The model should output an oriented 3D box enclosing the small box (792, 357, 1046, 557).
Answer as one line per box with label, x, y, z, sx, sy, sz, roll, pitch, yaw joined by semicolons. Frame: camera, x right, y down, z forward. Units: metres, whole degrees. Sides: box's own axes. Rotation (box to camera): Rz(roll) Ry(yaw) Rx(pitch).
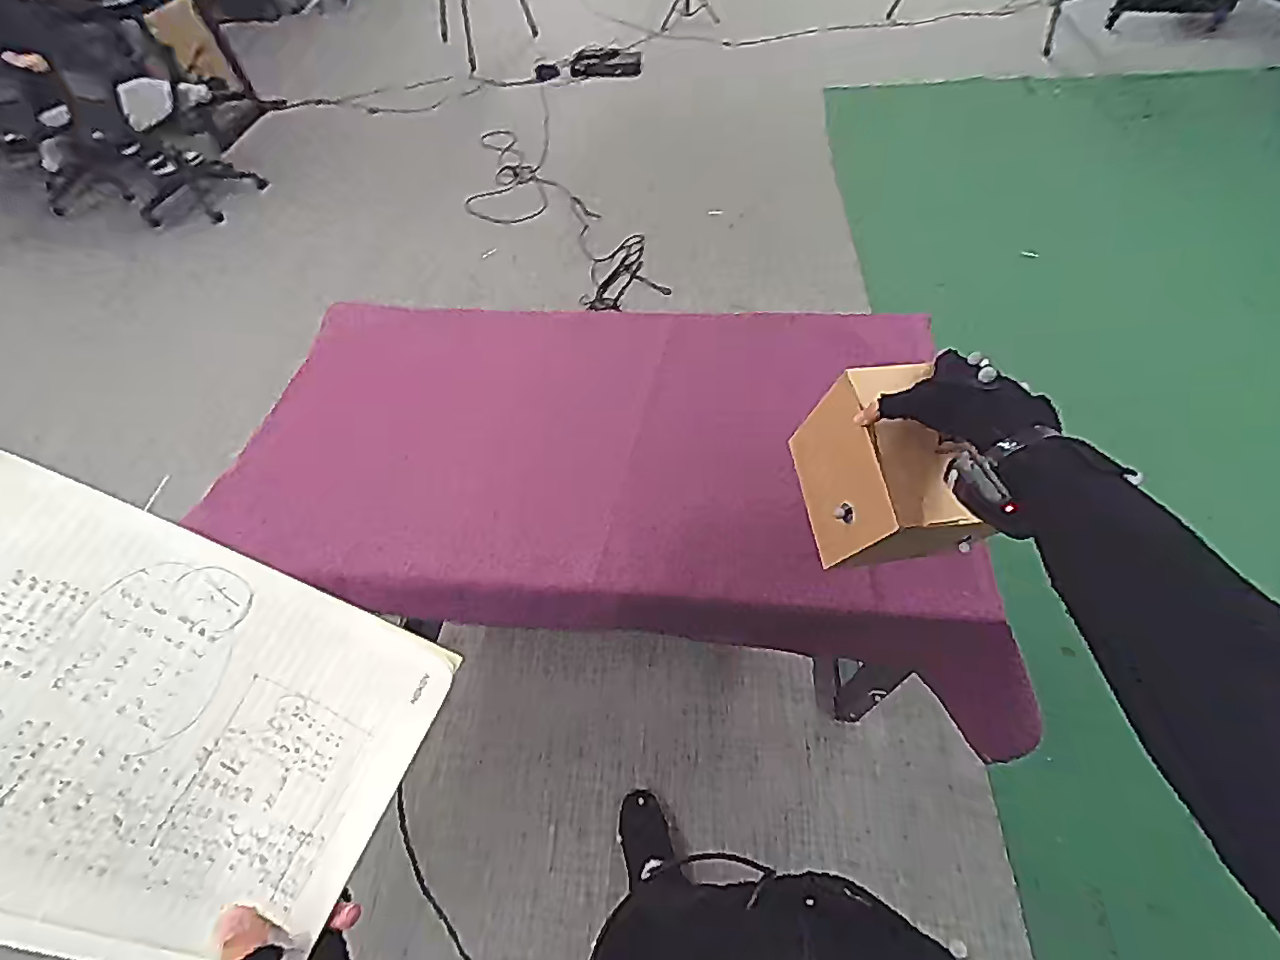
small box;0.293;-0.016;0.611;0.168;0.176;0.179;-4;68;-9
